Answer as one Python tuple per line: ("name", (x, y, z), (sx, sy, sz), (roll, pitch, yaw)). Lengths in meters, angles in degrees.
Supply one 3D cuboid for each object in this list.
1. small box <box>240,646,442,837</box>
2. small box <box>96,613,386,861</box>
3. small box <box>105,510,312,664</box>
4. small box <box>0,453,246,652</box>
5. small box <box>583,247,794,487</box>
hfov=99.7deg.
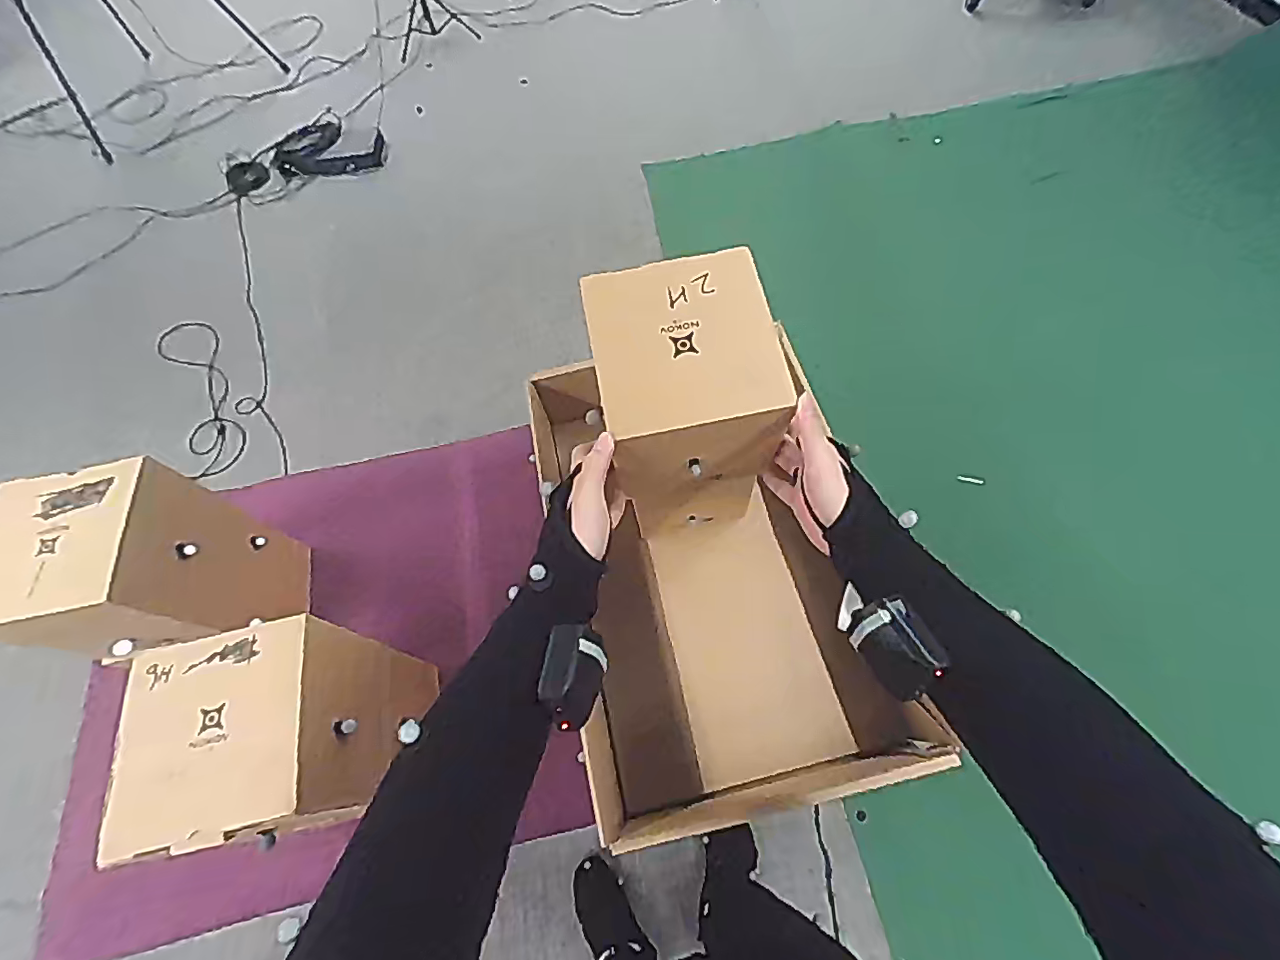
("small box", (-0.366, 0.331, 0.697), (0.168, 0.176, 0.179), (-12, 62, -3))
("small box", (-0.377, 0.254, 0.552), (0.168, 0.176, 0.179), (-13, 63, -3))
("small box", (-0.613, 0.171, 0.797), (0.168, 0.176, 0.179), (-15, 63, -3))
("small box", (-0.619, 0.094, 0.651), (0.168, 0.176, 0.179), (-11, 64, -1))
("small box", (0.043, -0.101, 0.560), (0.168, 0.176, 0.179), (-10, 70, -1))
